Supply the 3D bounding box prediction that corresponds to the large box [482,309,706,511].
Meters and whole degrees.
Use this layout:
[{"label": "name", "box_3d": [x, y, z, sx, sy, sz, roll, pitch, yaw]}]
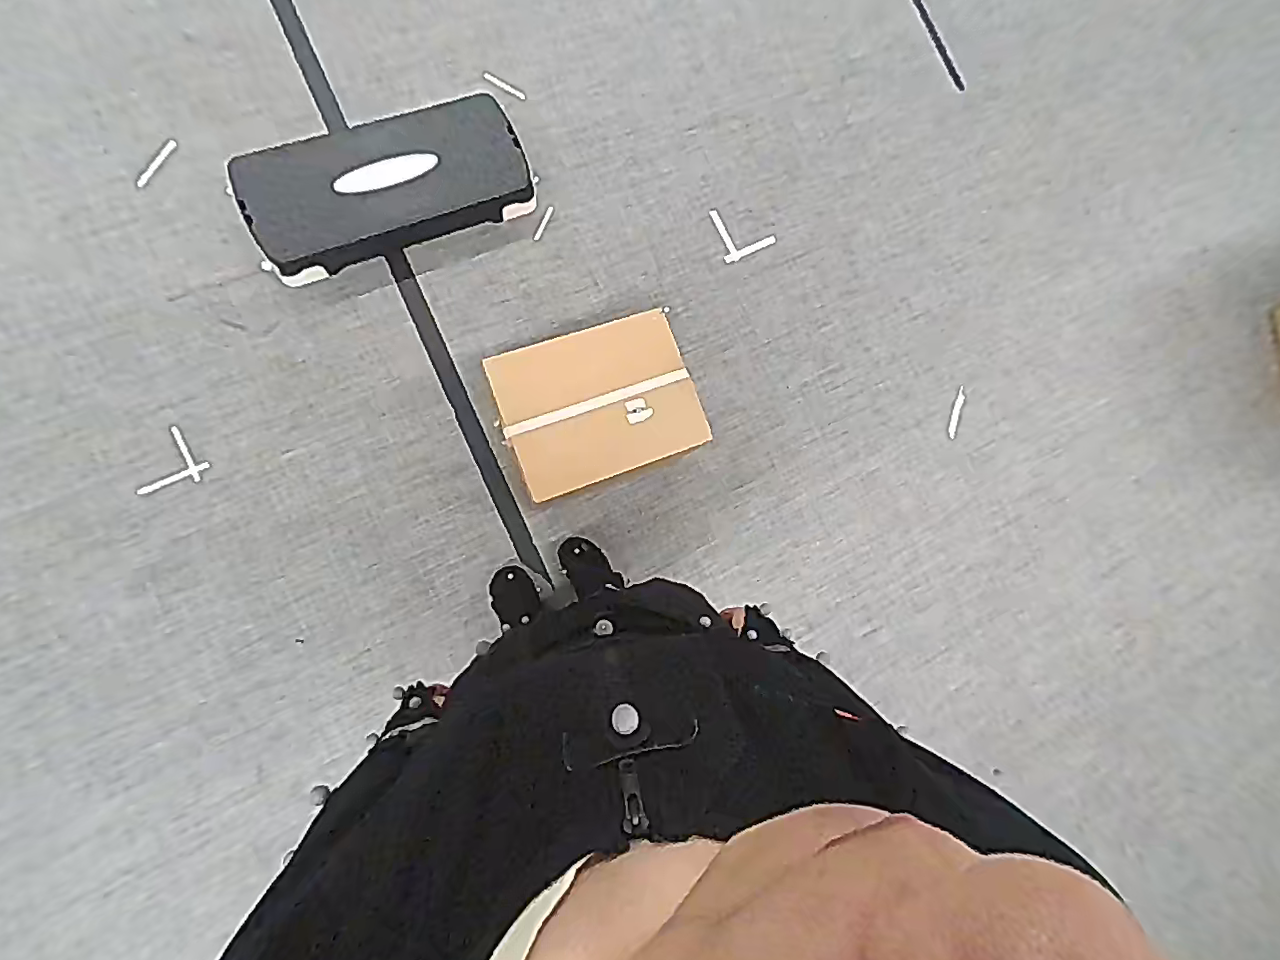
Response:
[{"label": "large box", "box_3d": [-0.119, -0.146, 1.277, 0.408, 0.320, 0.320, -21, 88, -13]}]
